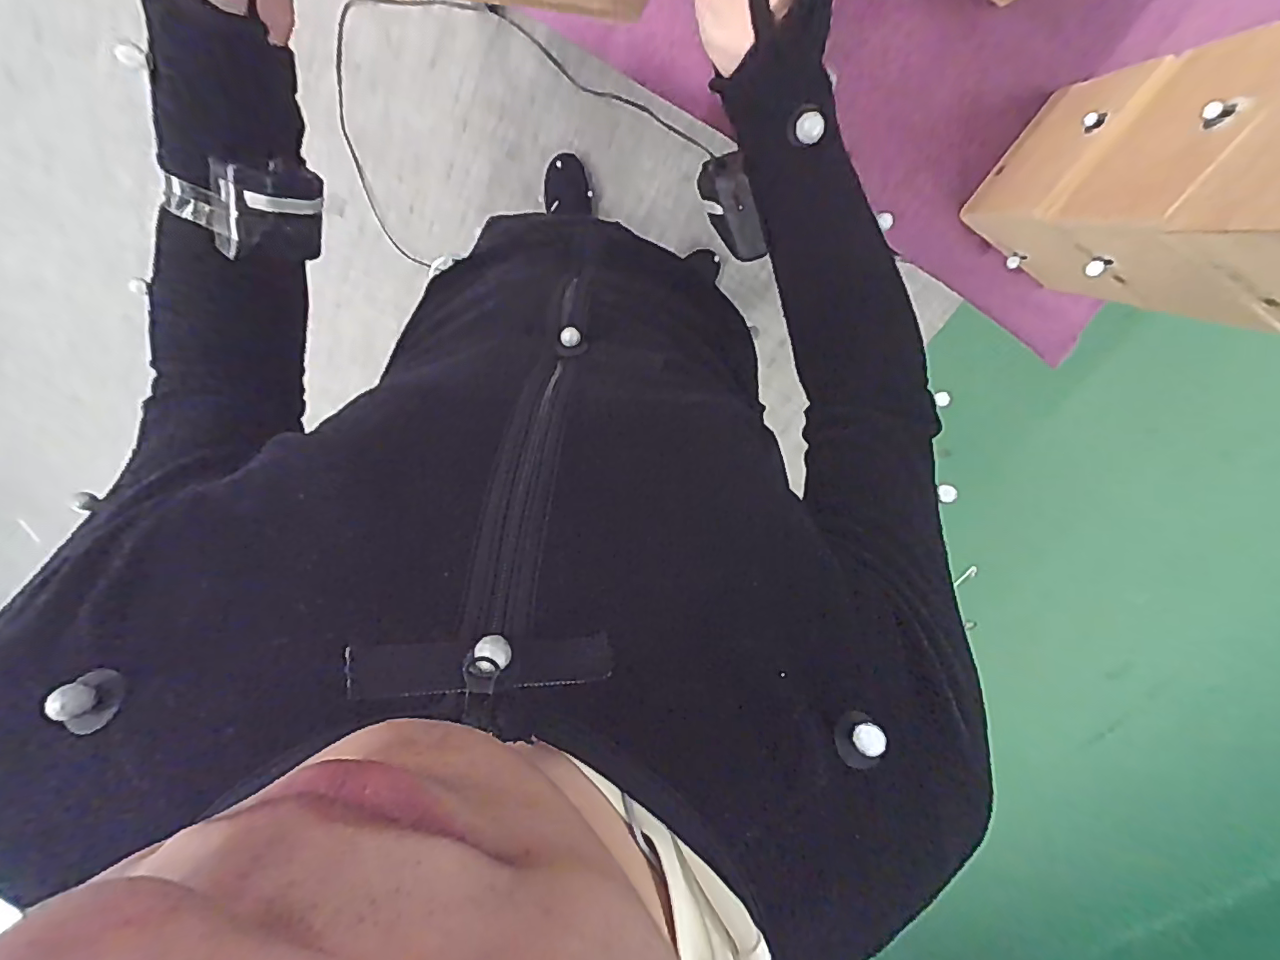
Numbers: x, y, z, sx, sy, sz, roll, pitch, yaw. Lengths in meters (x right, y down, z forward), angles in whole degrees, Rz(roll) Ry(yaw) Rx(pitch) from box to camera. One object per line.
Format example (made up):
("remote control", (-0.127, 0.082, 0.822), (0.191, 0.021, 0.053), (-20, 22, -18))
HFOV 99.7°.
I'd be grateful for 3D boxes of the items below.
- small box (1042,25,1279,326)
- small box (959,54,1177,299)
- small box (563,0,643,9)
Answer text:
("small box", (0.528, -0.271, 0.487), (0.168, 0.176, 0.179), (30, 114, -11))
("small box", (0.530, -0.343, 0.634), (0.179, 0.176, 0.168), (30, 114, -12))
("small box", (-0.060, -0.338, 0.214), (0.168, 0.176, 0.179), (53, 142, 5))
